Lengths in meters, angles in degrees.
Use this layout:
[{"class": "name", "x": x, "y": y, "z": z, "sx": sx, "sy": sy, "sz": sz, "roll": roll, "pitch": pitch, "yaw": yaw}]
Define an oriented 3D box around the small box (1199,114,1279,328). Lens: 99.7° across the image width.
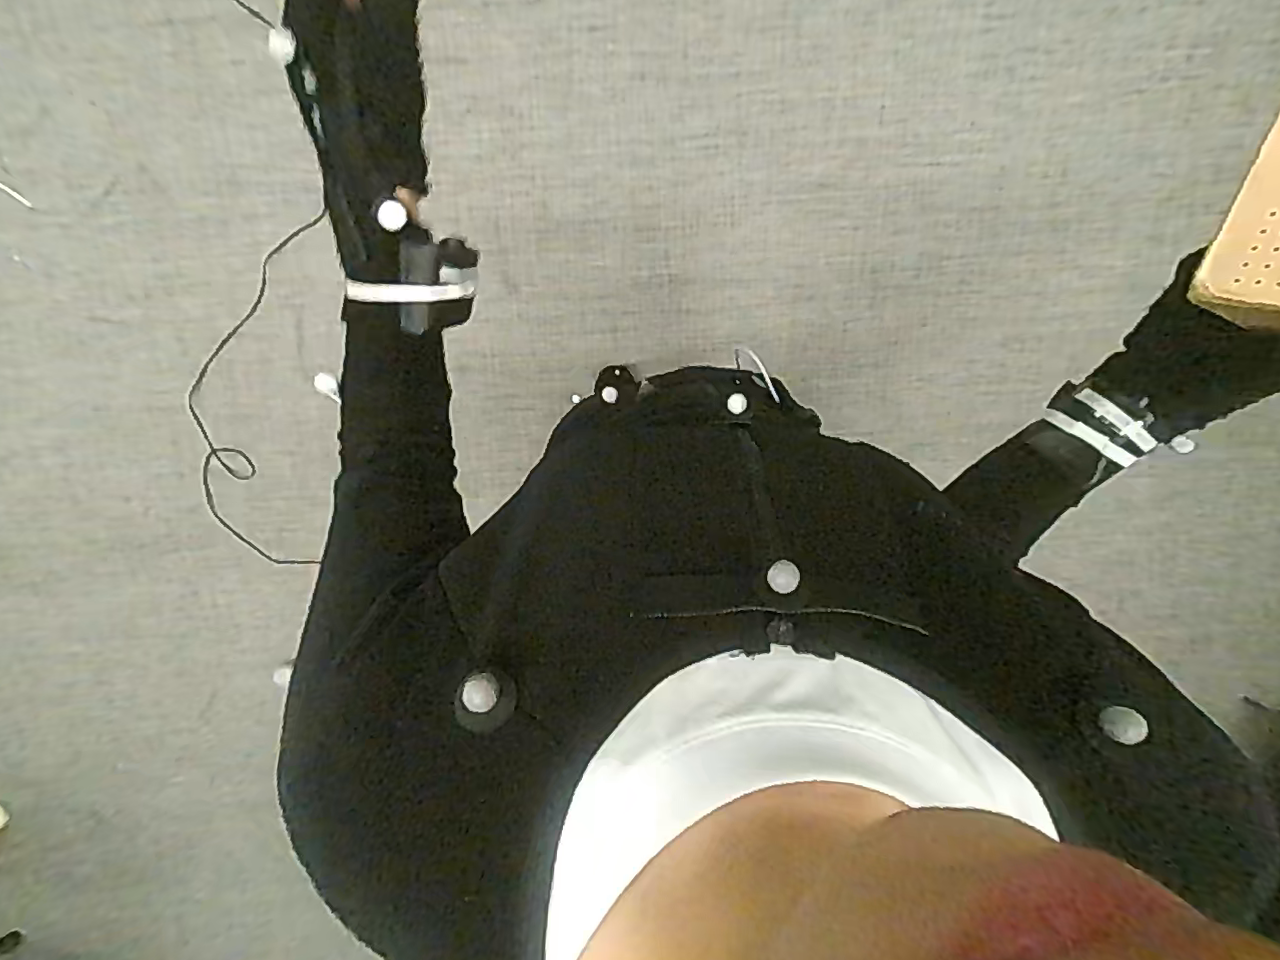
[{"class": "small box", "x": 0.368, "y": -0.132, "z": 0.198, "sx": 0.179, "sy": 0.176, "sz": 0.168, "roll": -5, "pitch": 116, "yaw": -35}]
